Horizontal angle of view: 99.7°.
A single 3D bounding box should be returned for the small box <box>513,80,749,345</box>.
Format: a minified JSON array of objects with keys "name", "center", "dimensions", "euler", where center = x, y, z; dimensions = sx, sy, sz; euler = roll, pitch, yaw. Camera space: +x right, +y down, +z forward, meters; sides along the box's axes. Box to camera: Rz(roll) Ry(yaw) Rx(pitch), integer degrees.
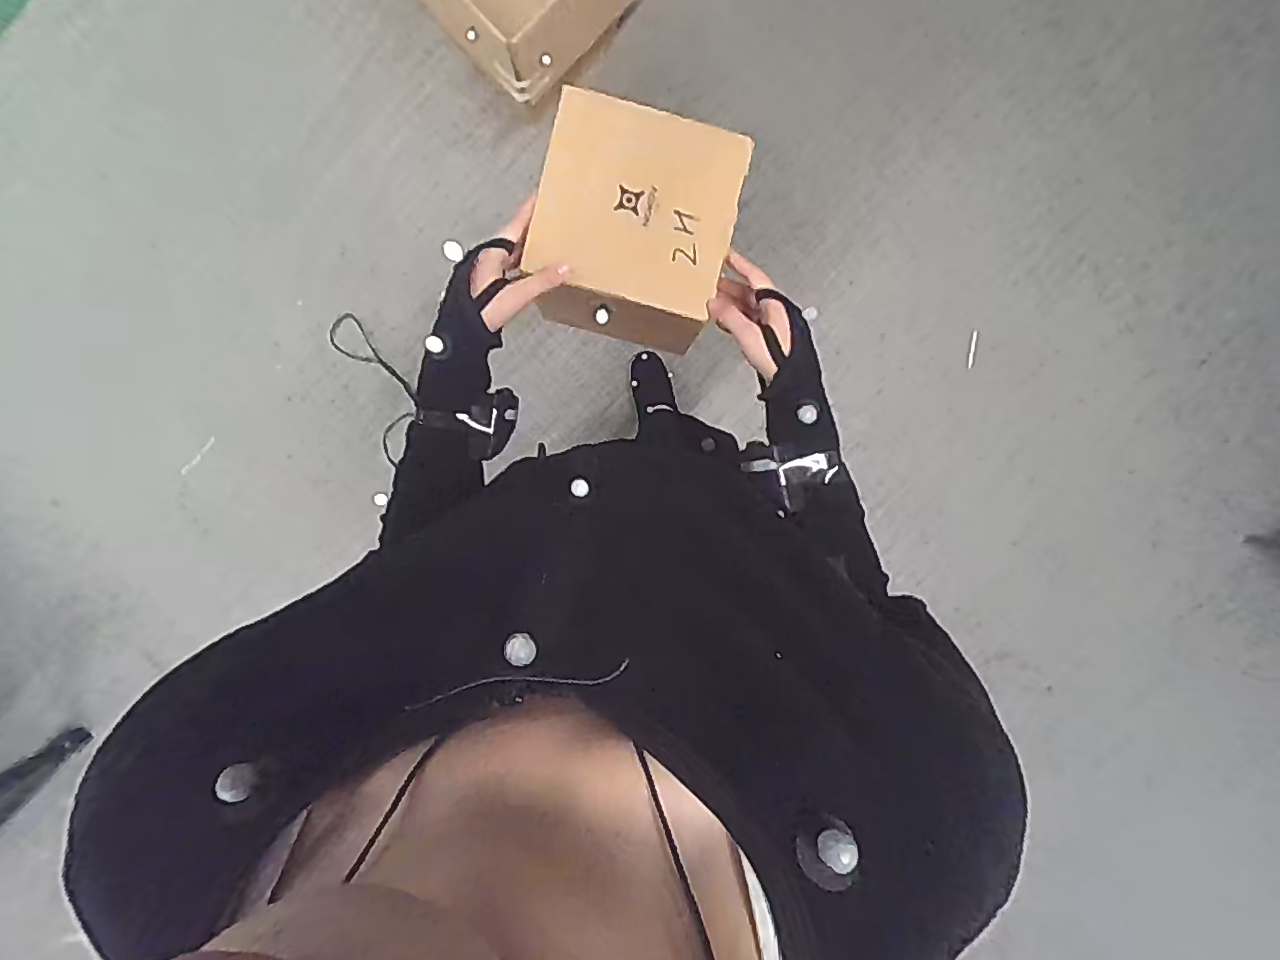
[{"name":"small box","center":[-0.011,-0.247,0.548],"dimensions":[0.179,0.176,0.168],"euler":[13,92,-3]}]
